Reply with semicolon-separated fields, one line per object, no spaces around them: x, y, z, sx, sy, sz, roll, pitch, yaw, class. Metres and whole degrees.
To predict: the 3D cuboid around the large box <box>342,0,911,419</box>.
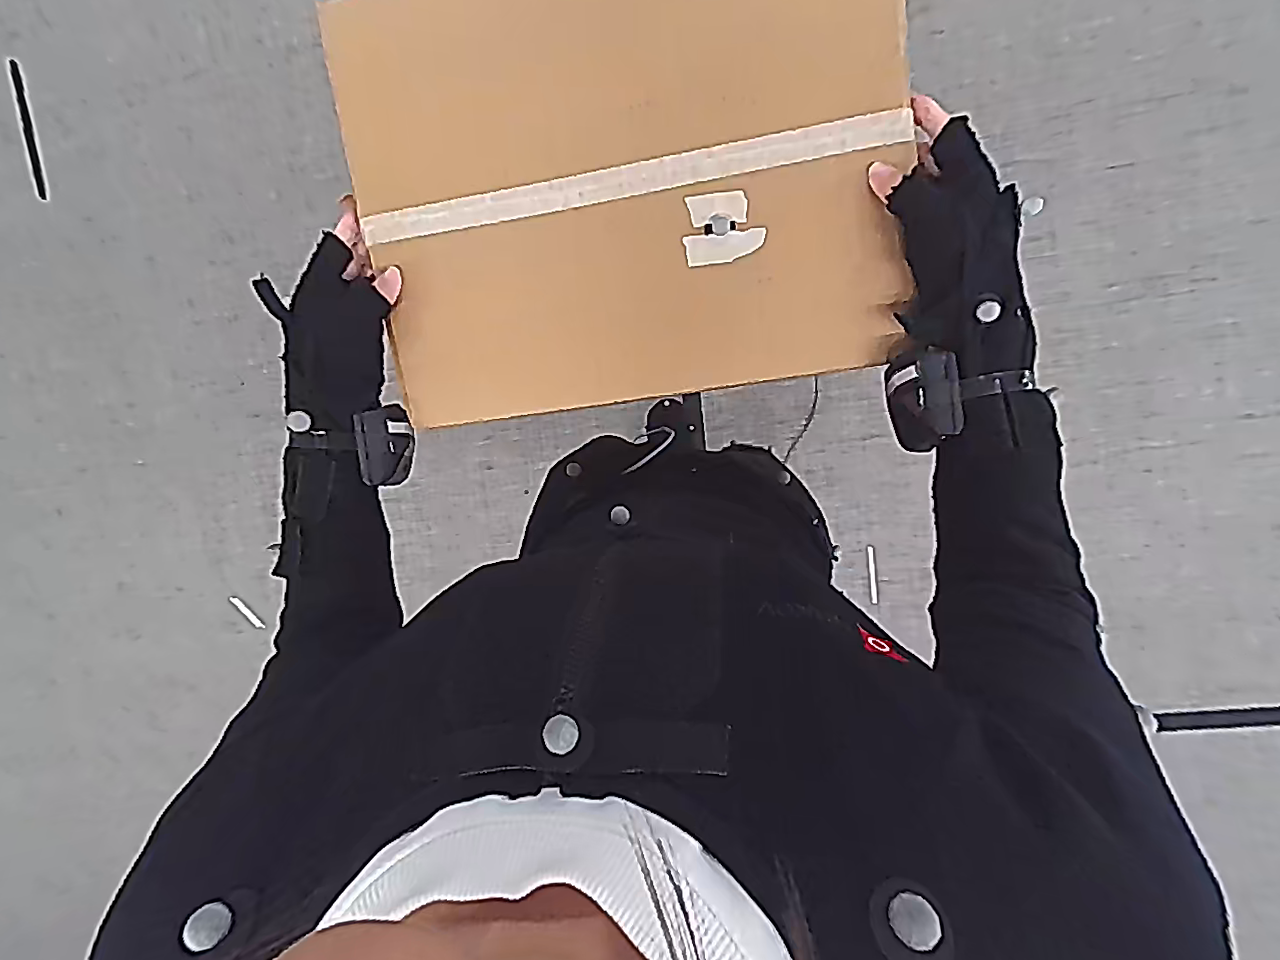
0.002;-0.254;0.555;0.408;0.320;0.320;-7;101;7;large box
